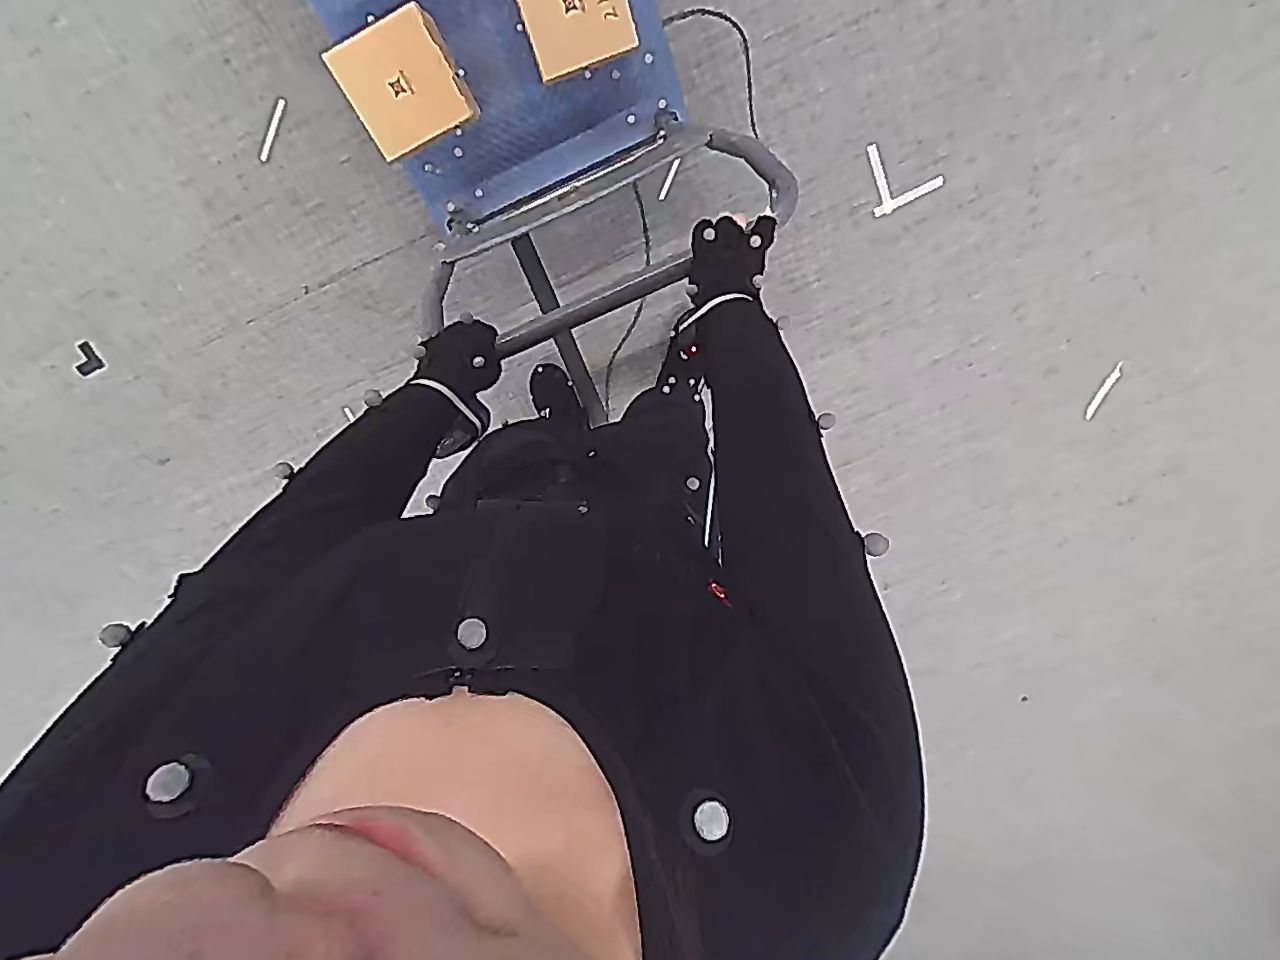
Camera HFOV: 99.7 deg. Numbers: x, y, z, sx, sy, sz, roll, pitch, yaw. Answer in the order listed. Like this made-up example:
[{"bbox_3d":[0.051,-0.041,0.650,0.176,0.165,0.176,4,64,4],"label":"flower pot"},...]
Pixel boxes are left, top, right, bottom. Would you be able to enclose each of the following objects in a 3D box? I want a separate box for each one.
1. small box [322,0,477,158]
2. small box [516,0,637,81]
[{"bbox_3d":[-0.411,-0.700,0.961,0.179,0.176,0.168,-26,124,6],"label":"small box"},{"bbox_3d":[-0.118,-0.817,0.936,0.179,0.176,0.168,-19,125,3],"label":"small box"}]
